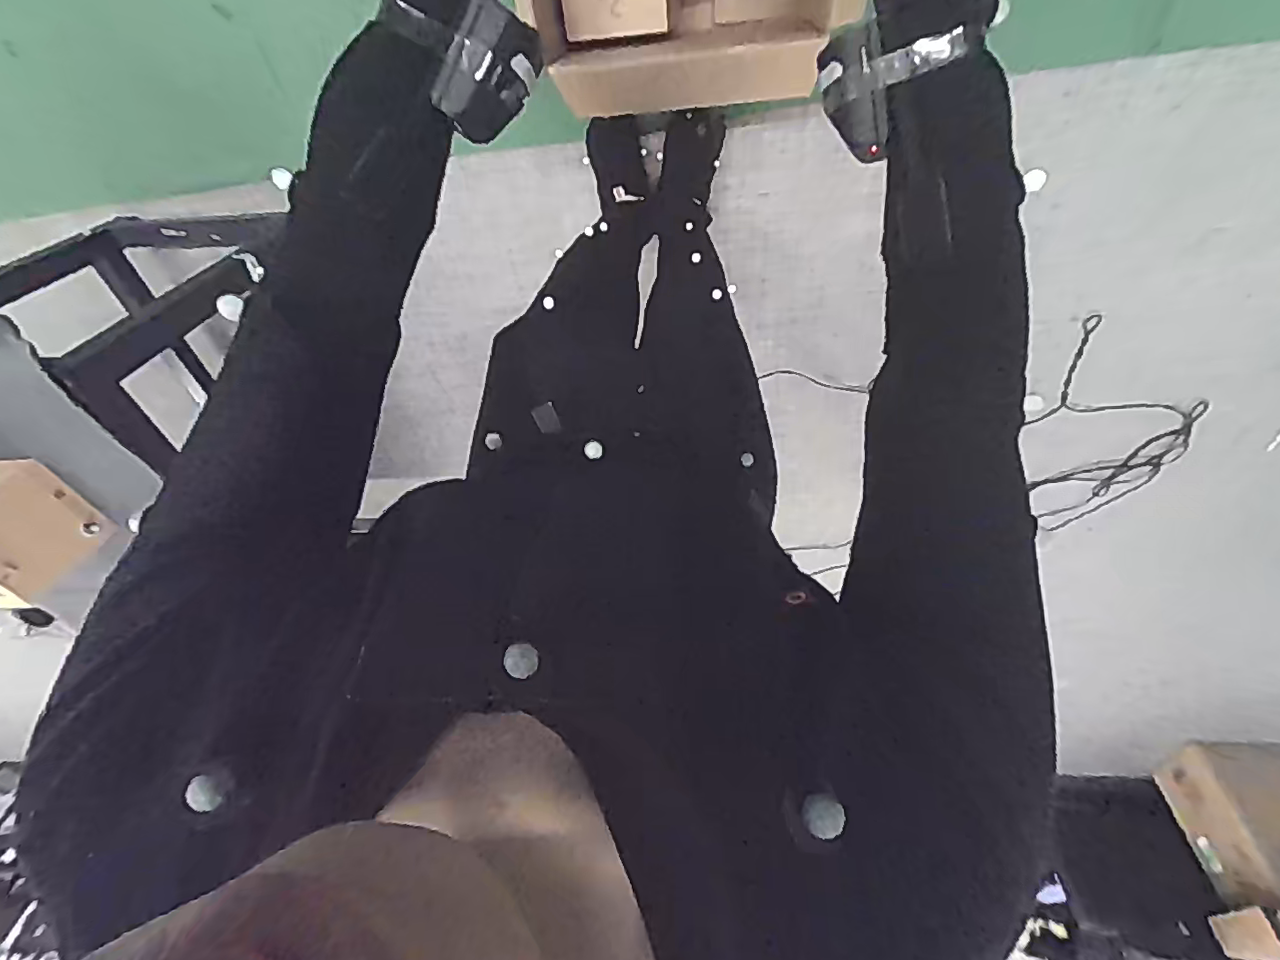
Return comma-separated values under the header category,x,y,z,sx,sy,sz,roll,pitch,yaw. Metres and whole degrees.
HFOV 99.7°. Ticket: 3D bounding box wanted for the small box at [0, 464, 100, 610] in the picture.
category,x,y,z,sx,sy,sz,roll,pitch,yaw
small box,-1.023,0.087,0.848,0.179,0.176,0.168,-2,133,11
